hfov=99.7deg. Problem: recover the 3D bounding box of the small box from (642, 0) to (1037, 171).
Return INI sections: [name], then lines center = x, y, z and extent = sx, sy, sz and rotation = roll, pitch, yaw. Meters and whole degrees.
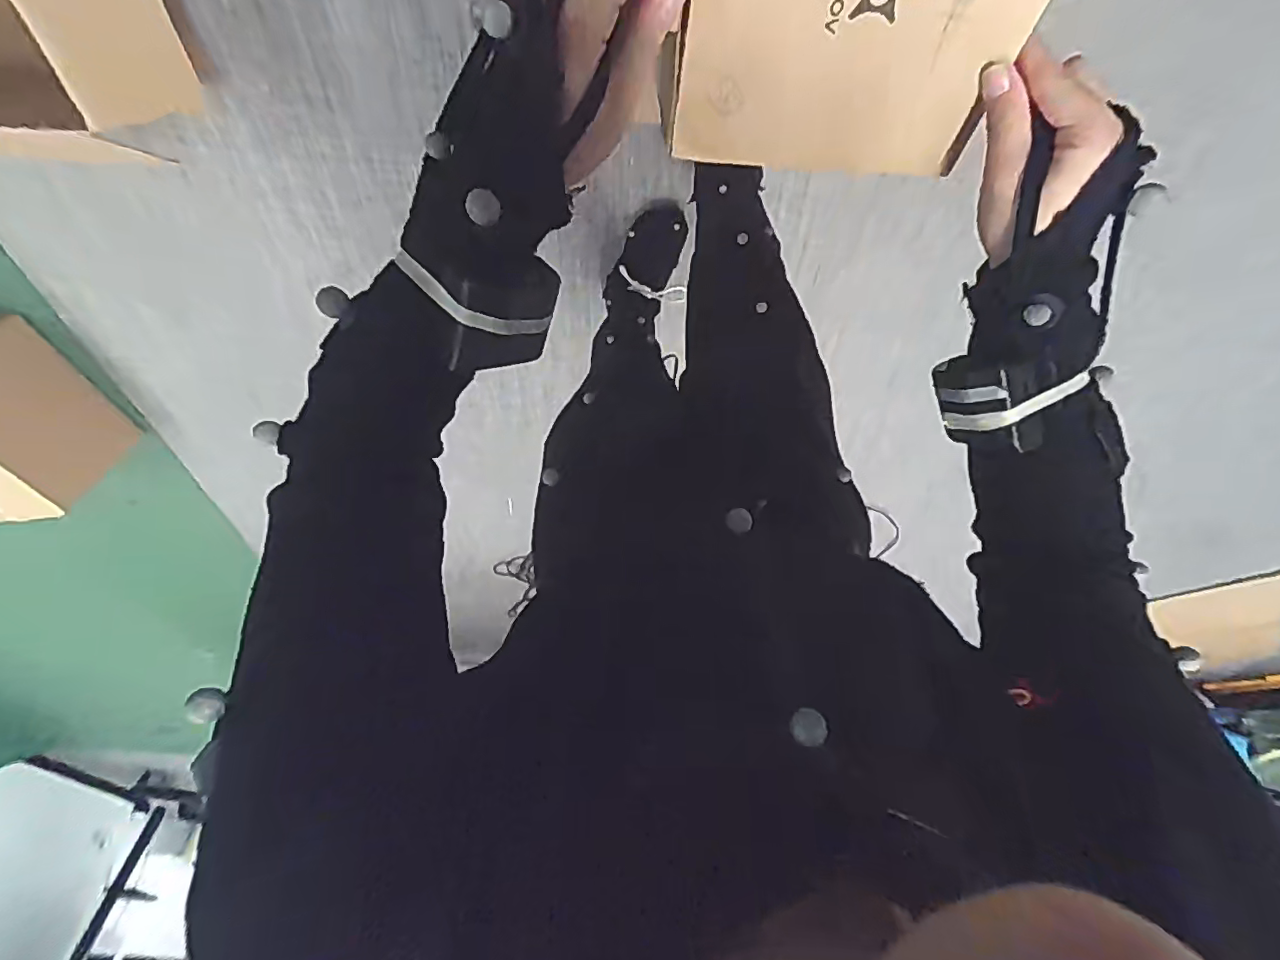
[small box]
center = 0.098, -0.297, 0.287
extent = 0.179, 0.176, 0.168
rotation = -1, 150, -7
